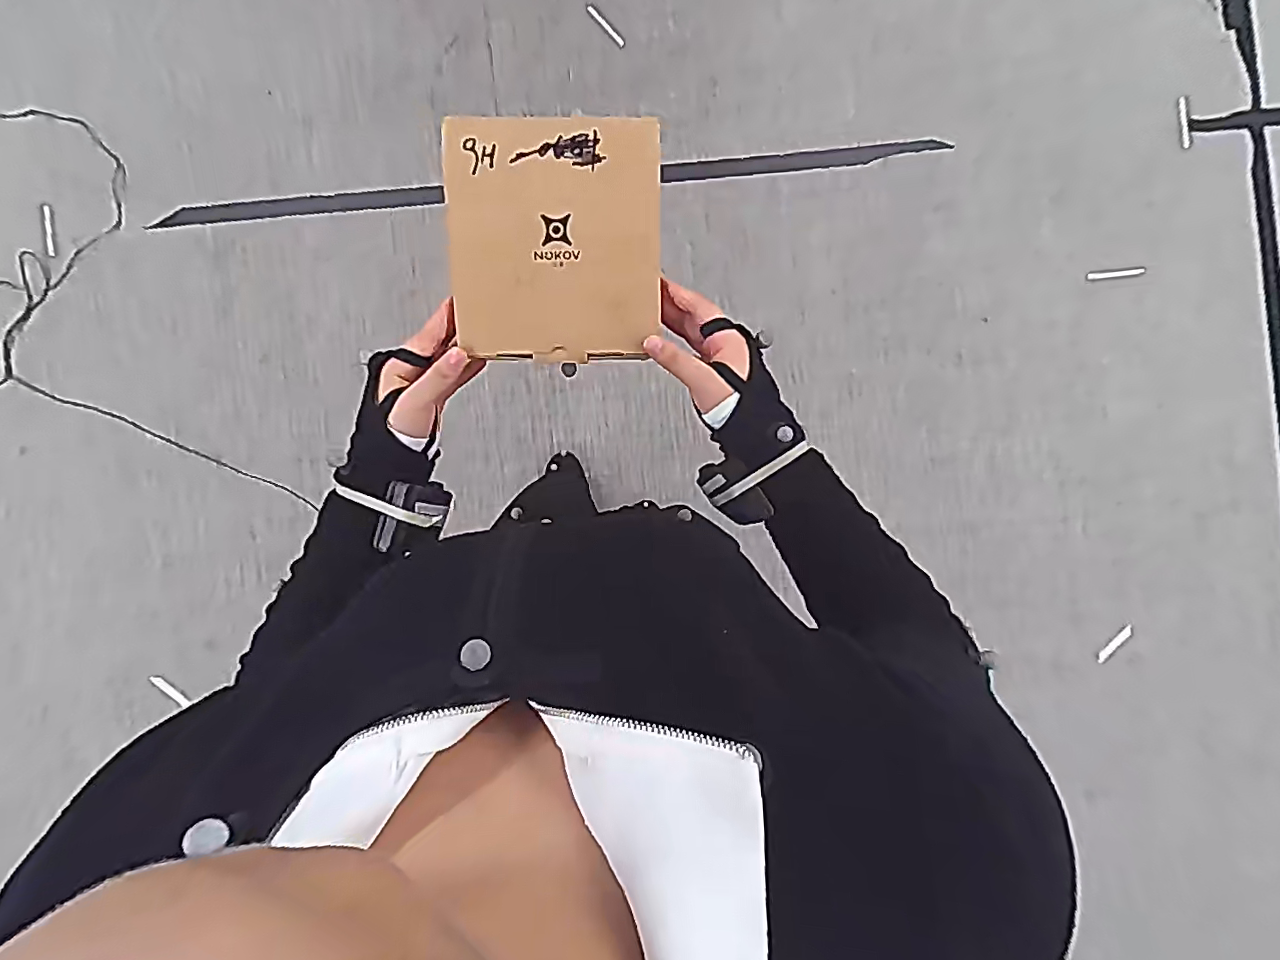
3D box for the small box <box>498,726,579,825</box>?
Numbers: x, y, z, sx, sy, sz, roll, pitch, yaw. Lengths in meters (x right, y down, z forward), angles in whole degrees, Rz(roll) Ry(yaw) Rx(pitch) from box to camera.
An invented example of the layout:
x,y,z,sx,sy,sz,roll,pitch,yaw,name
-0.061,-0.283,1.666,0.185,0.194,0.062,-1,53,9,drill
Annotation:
x,y,z,sx,sy,sz,roll,pitch,yaw,name
-0.242,0.727,1.321,0.168,0.176,0.179,-2,90,0,small box
